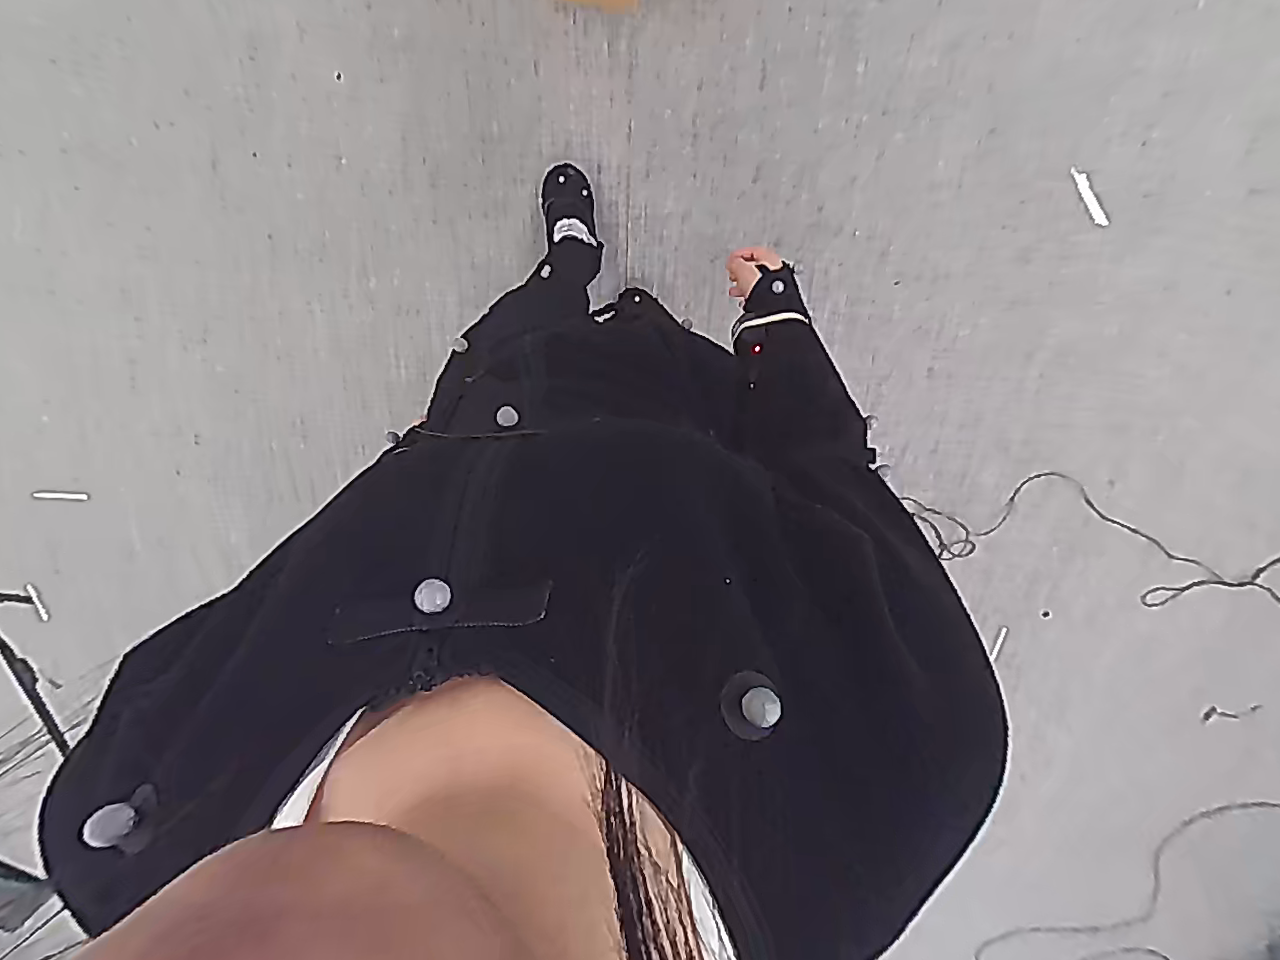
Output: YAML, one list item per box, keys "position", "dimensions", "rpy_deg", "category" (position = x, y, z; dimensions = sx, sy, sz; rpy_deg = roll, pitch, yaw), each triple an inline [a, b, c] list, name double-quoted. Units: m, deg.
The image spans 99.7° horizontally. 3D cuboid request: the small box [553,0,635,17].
- position: [-0.086, -1.015, 1.022]
  dimensions: [0.179, 0.176, 0.168]
  rpy_deg: [7, 114, -3]
  category: "small box"
